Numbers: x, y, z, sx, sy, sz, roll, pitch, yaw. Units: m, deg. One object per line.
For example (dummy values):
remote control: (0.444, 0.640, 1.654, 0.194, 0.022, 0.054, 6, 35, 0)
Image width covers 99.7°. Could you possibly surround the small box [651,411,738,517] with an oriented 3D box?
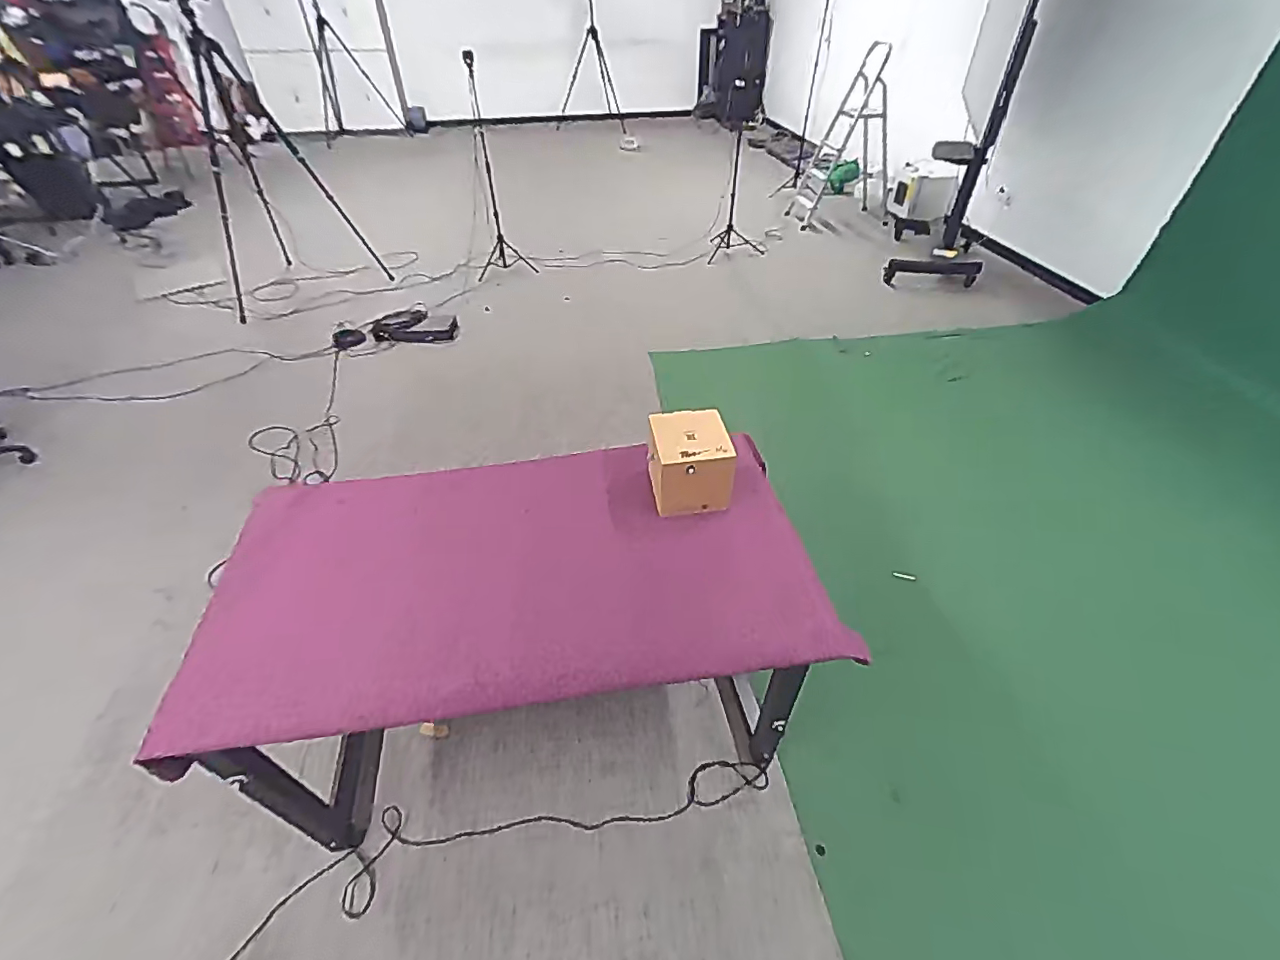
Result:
small box: (0.117, -0.038, 1.252, 0.168, 0.176, 0.179, -7, 43, -5)
